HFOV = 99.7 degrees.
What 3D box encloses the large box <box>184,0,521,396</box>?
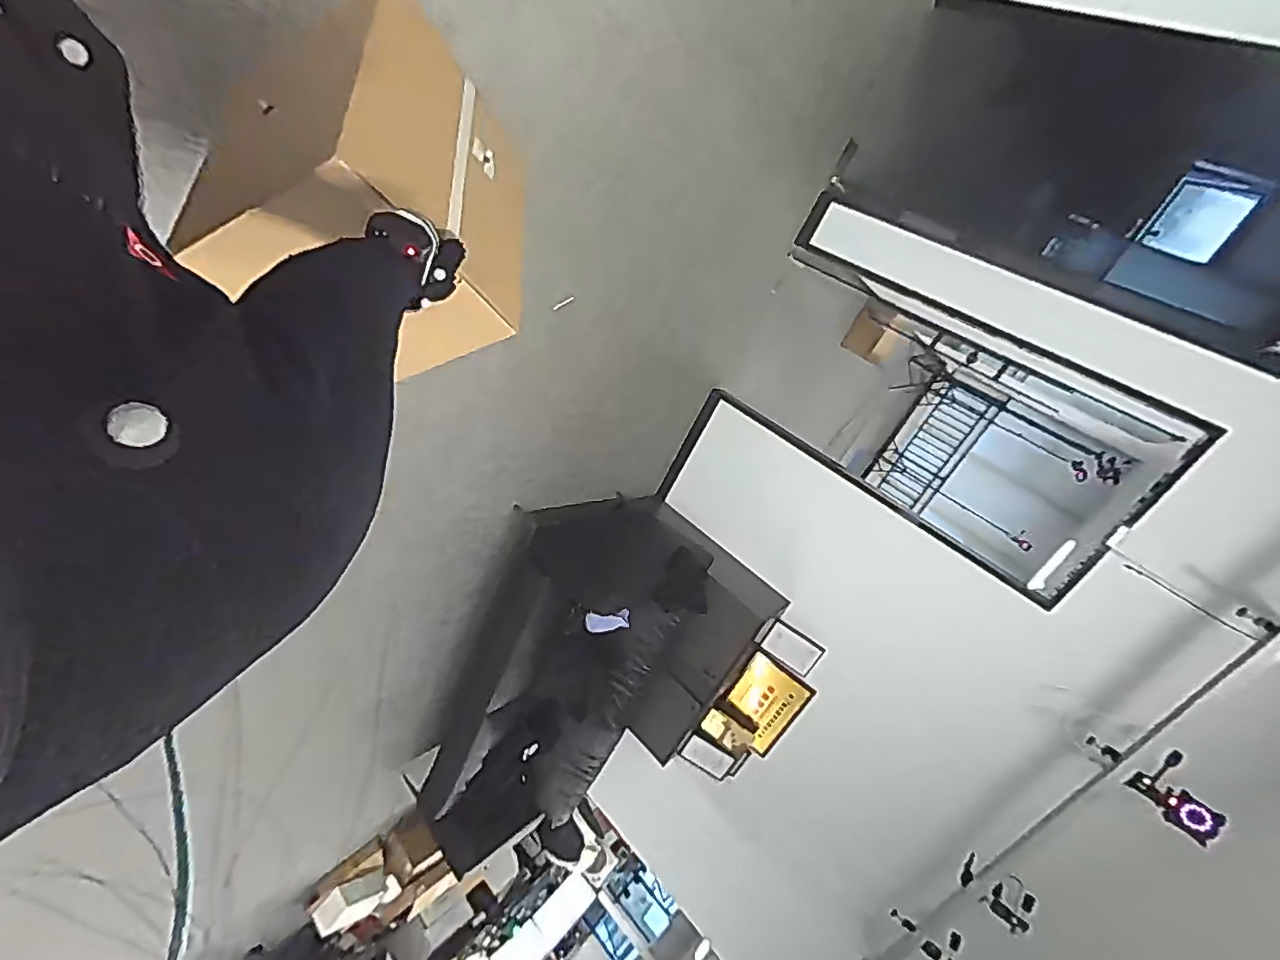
[{"bbox_3d":[-0.399,-0.406,0.831,0.320,0.408,0.320,-16,152,20],"label":"large box"}]
